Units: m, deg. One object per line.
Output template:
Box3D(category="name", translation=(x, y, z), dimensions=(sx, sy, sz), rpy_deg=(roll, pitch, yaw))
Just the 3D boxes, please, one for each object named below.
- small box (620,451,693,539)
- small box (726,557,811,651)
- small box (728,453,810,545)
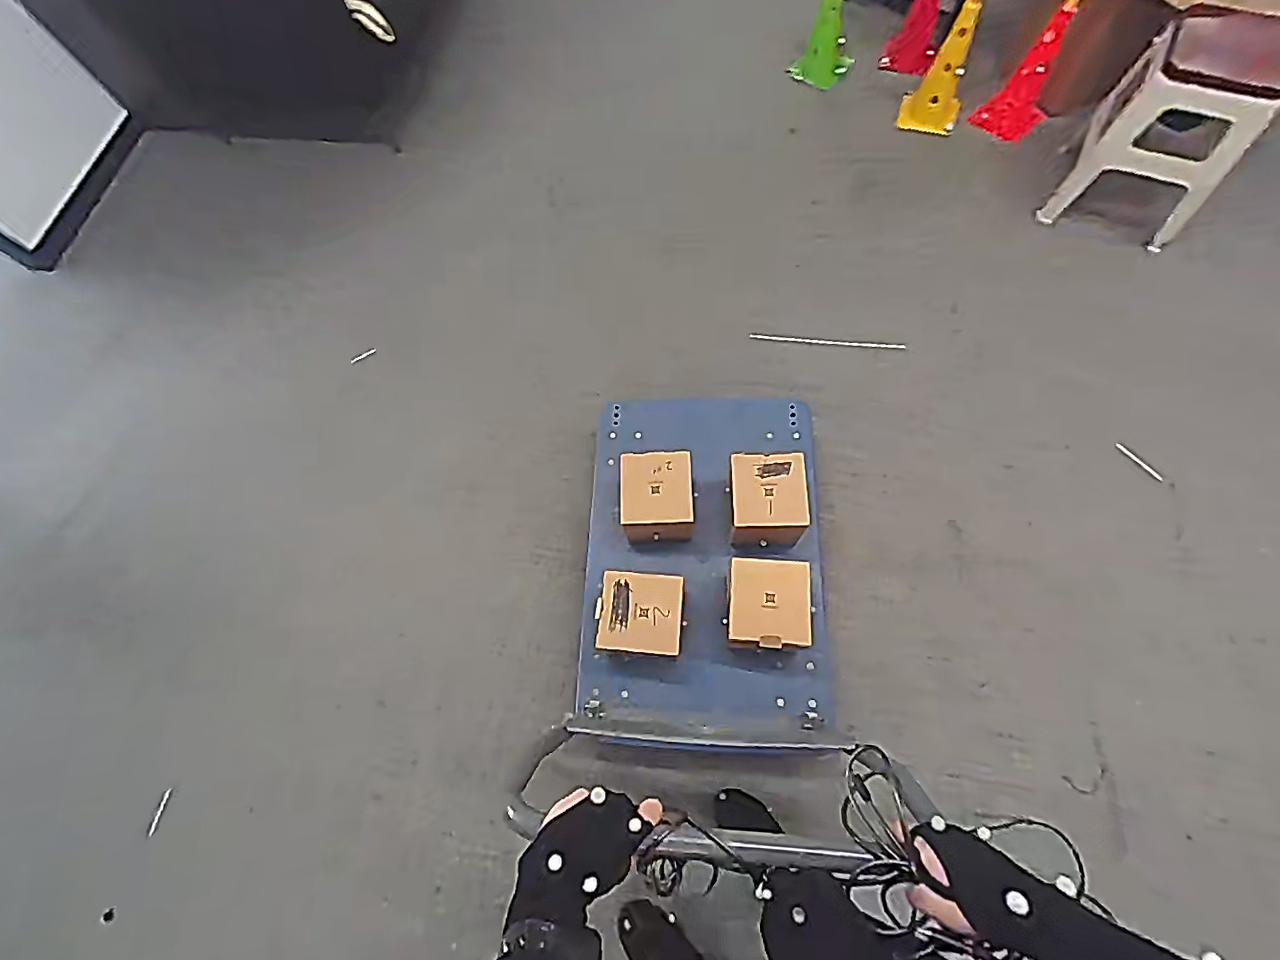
Box3D(category="small box", translation=(0.044, 0.044, 1.310), dimensions=(0.168, 0.176, 0.179), rpy_deg=(-2, 69, 5))
Box3D(category="small box", translation=(0.278, 0.279, 1.198), dimensions=(0.168, 0.176, 0.179), rpy_deg=(3, 71, 7))
Box3D(category="small box", translation=(0.298, 0.048, 1.281), dimensions=(0.168, 0.176, 0.179), rpy_deg=(-1, 70, 7))
